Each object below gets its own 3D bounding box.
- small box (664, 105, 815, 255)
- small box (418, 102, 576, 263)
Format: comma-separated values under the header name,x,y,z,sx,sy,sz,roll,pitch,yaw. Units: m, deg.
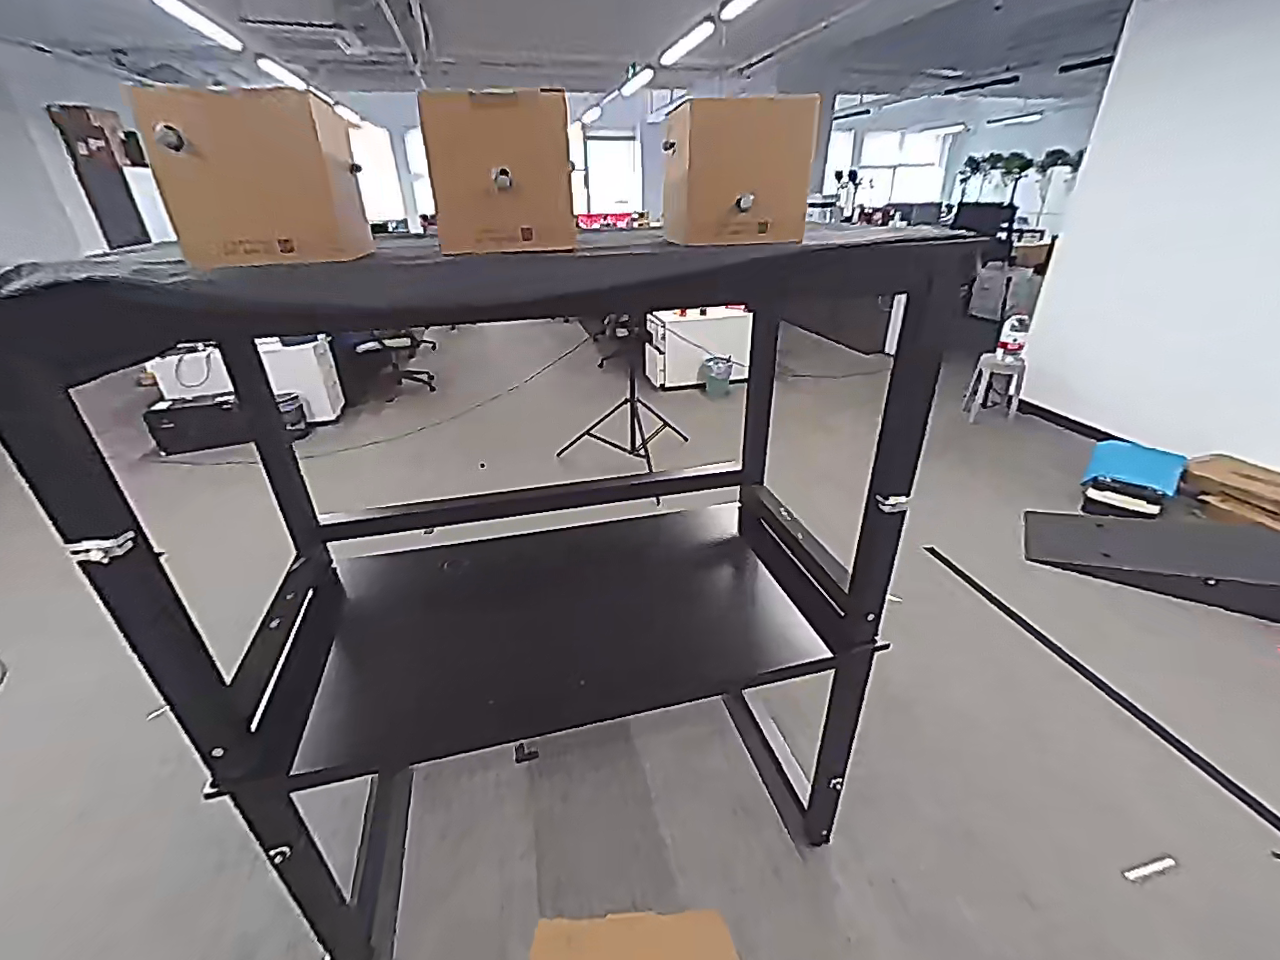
name,x,y,z,sx,sy,sz,roll,pitch,yaw
small box,0.126,-0.416,0.766,0.168,0.176,0.179,-5,28,-7
small box,-0.179,-0.378,0.706,0.168,0.176,0.179,-7,26,-12
